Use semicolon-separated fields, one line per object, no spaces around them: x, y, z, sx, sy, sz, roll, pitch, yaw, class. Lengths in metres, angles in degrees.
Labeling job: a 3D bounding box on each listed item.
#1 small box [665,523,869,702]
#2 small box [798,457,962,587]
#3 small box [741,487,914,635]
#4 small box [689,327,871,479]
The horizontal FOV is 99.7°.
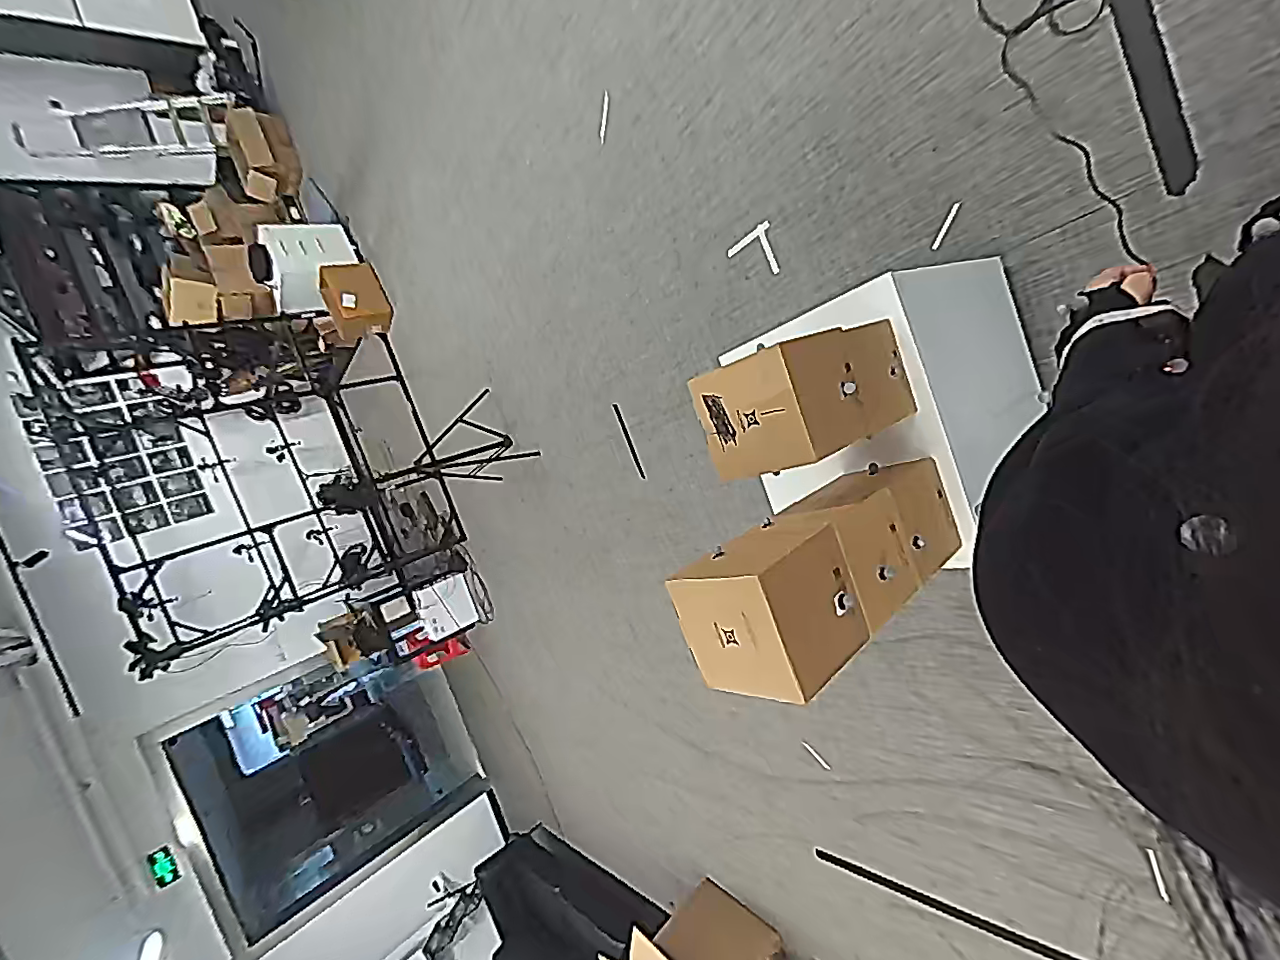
0.170;0.169;0.730;0.179;0.176;0.168;-19;94;52;small box
0.410;0.071;0.926;0.179;0.176;0.168;-16;96;54;small box
0.291;0.120;0.827;0.179;0.176;0.168;-18;94;53;small box
0.209;-0.113;0.806;0.179;0.176;0.168;-14;98;51;small box
